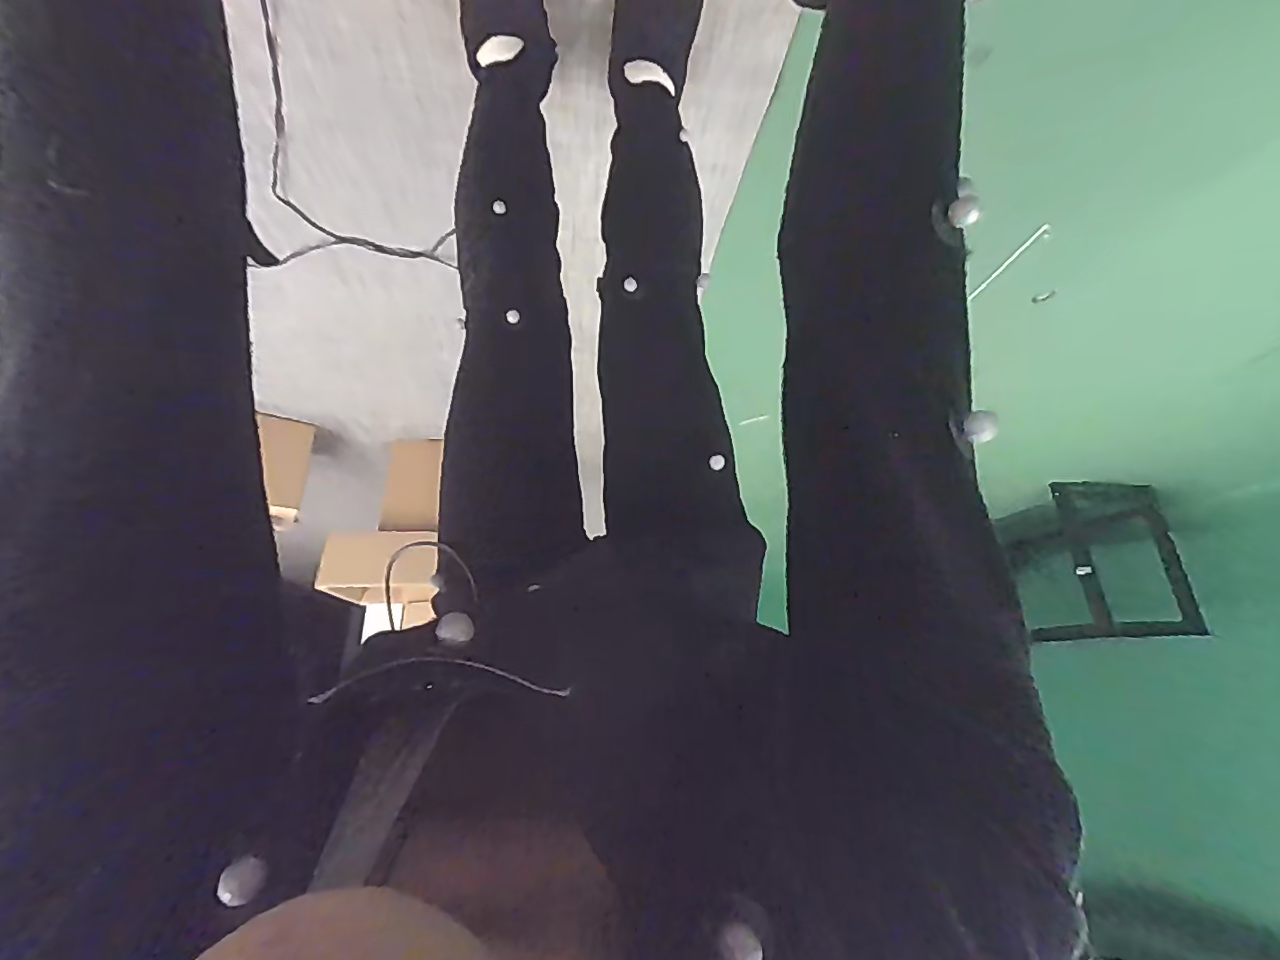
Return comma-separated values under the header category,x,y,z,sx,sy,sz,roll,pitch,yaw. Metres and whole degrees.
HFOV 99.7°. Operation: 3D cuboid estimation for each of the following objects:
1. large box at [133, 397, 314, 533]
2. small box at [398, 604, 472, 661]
category,x,y,z,sx,sy,sz,roll,pitch,yaw
large box,-1.355,-0.031,1.790,0.408,0.320,0.320,16,153,-35
small box,-0.701,0.530,1.866,0.179,0.176,0.168,-10,158,19
